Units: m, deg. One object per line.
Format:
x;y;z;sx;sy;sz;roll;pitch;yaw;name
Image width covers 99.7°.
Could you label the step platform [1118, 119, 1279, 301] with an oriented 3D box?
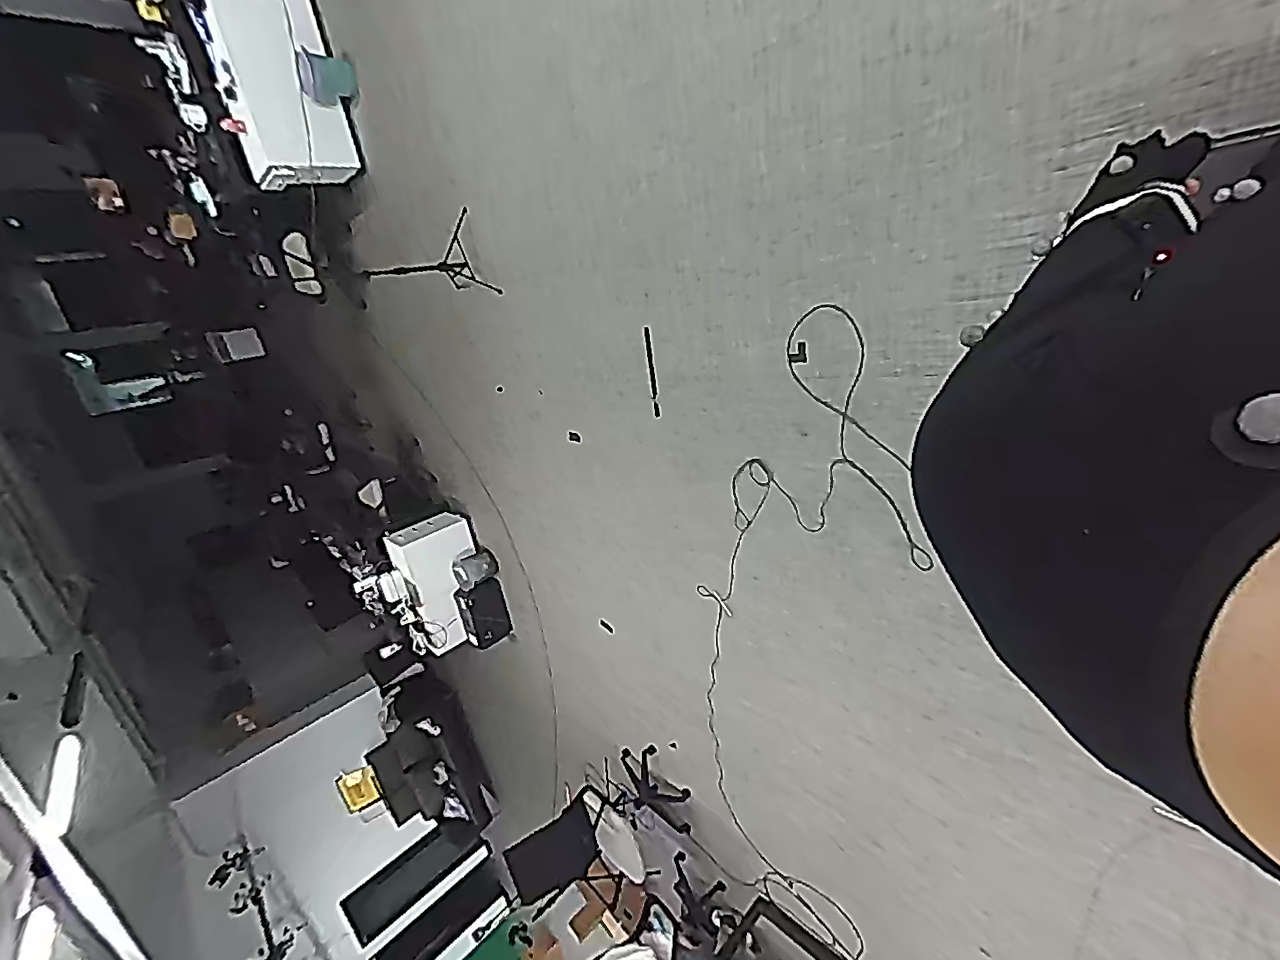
1.234;-0.482;0.880;0.684;0.204;0.286;8;116;46;step platform
